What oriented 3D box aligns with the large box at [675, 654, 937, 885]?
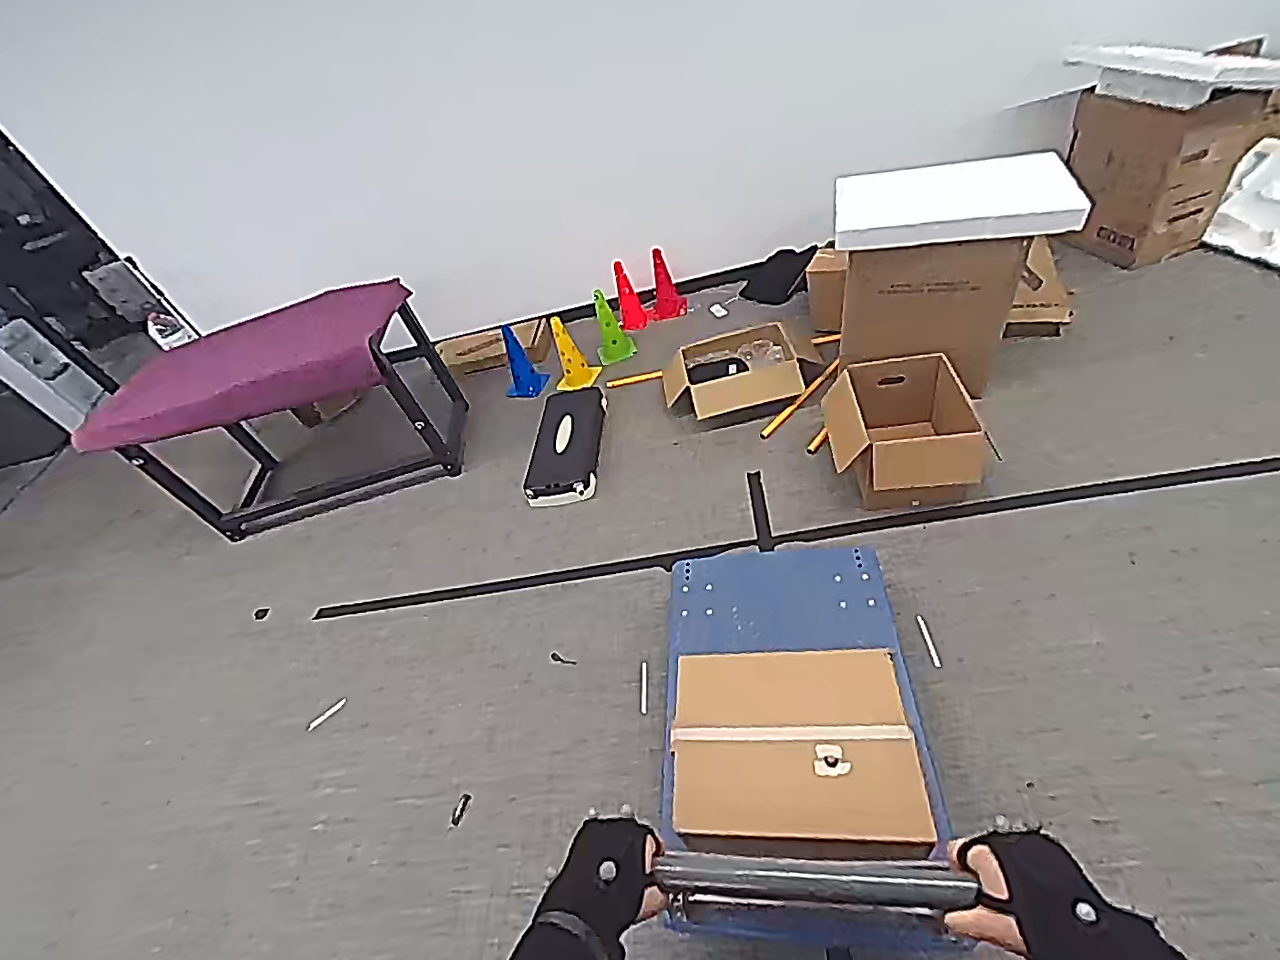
[{"bbox_3d":[0.289,0.559,1.042,0.408,0.320,0.320,-6,45,12],"label":"large box"}]
